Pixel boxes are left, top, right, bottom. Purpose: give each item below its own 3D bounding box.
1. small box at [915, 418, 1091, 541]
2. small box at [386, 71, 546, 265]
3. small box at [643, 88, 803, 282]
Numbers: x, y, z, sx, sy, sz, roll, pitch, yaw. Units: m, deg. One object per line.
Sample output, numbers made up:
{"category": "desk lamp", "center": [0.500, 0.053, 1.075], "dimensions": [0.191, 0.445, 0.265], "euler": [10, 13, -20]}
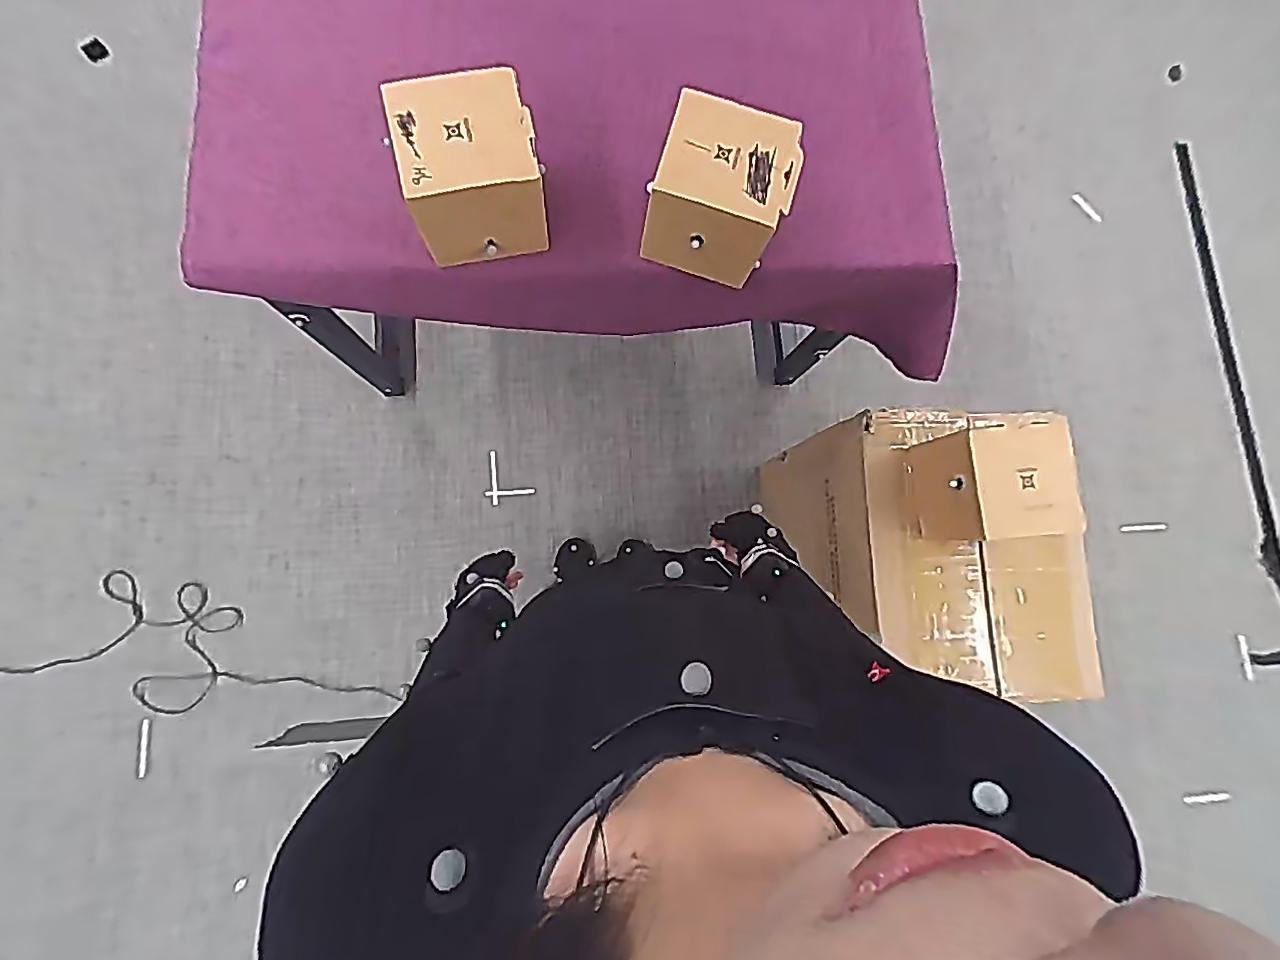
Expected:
{"category": "small box", "center": [0.585, 0.006, 0.897], "dimensions": [0.168, 0.176, 0.179], "euler": [-5, 84, -4]}
{"category": "small box", "center": [-0.235, -0.436, 0.776], "dimensions": [0.179, 0.176, 0.168], "euler": [-13, 82, -8]}
{"category": "small box", "center": [0.114, -0.424, 0.809], "dimensions": [0.179, 0.176, 0.168], "euler": [17, 80, -2]}
